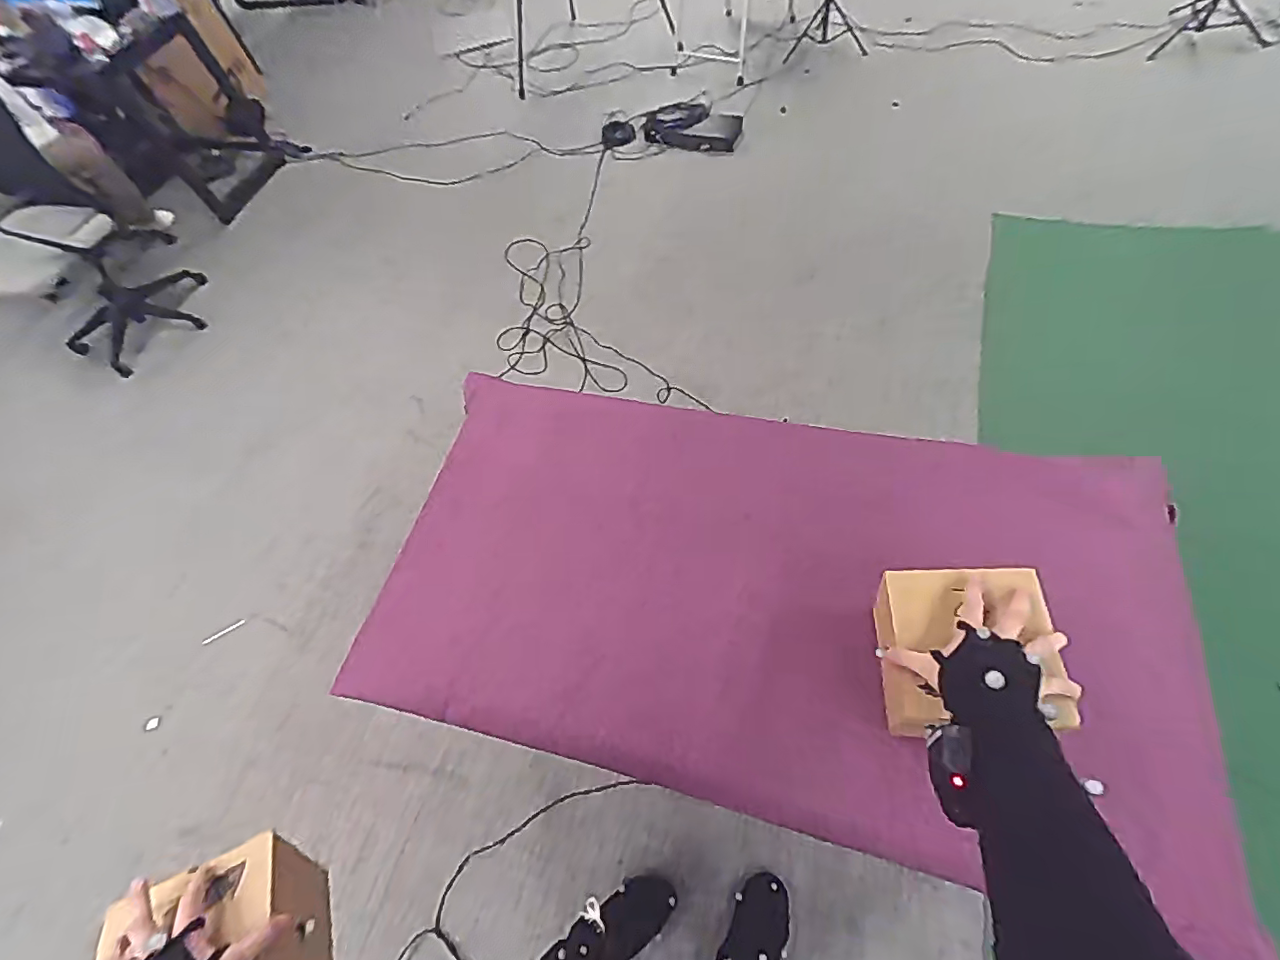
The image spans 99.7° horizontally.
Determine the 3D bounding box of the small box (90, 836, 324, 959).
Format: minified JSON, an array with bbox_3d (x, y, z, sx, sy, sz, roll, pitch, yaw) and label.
[{"bbox_3d":[-0.475,0.557,0.608,0.168,0.176,0.179,-20,43,-20],"label":"small box"}]
